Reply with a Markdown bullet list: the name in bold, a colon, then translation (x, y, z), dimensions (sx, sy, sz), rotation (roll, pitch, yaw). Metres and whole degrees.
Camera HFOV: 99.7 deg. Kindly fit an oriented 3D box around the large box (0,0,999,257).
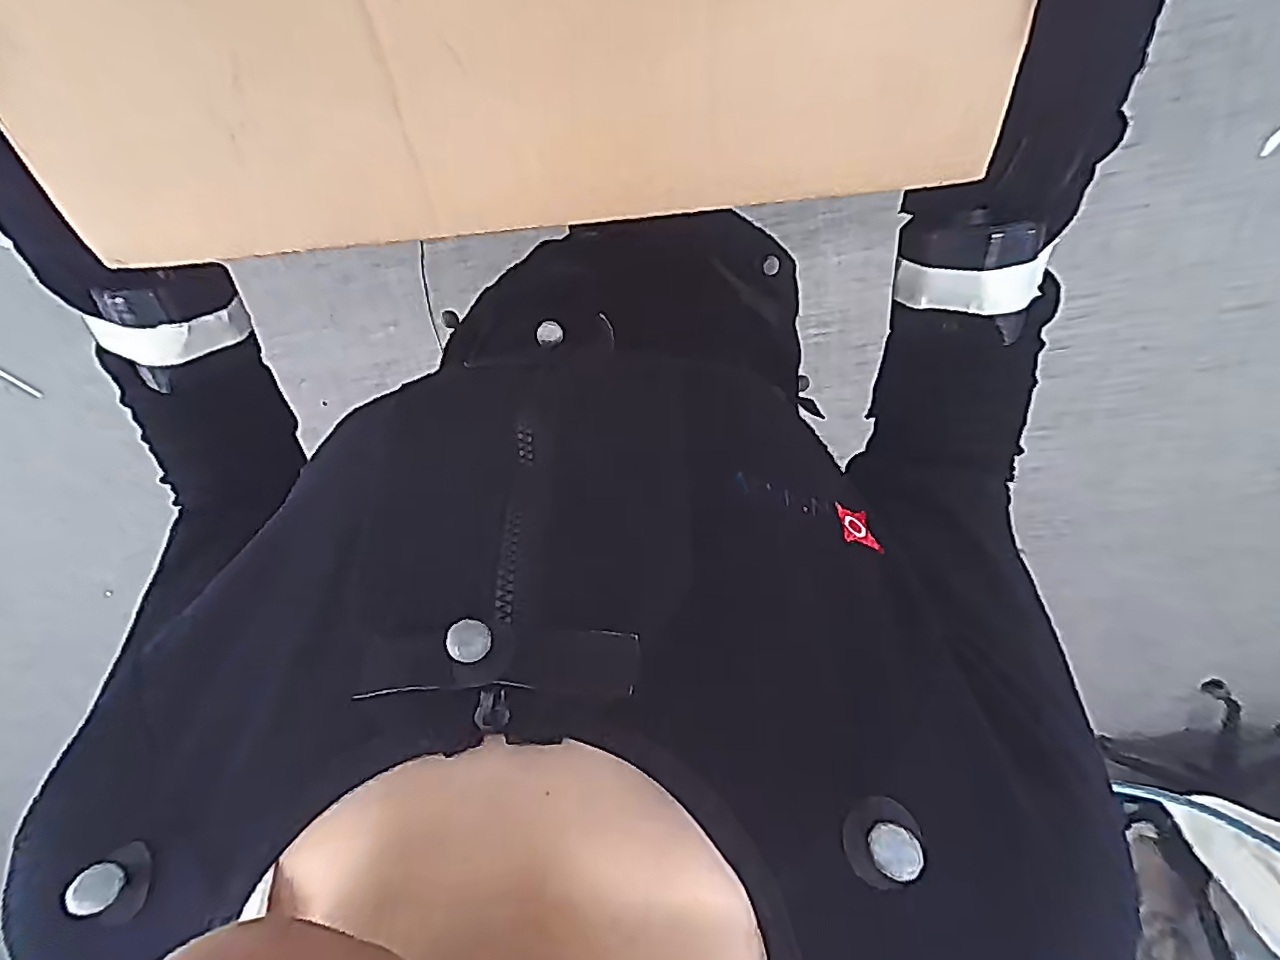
- **large box**: translation (-0.069, -0.340, 0.261), dimensions (0.408, 0.320, 0.320), rotation (-4, 132, 4)
